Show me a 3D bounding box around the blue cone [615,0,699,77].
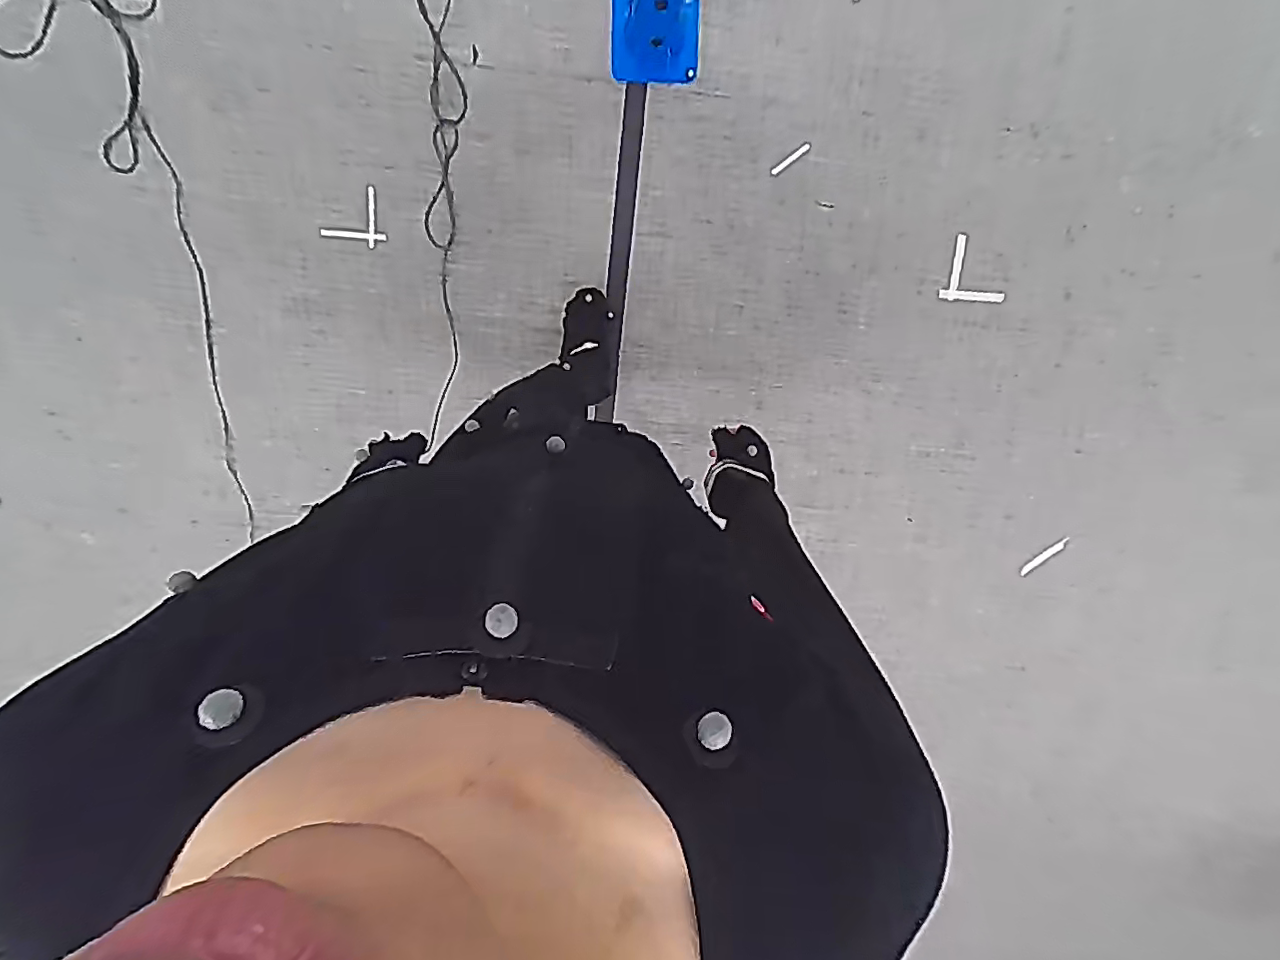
[{"bbox_3d":[0.048,-0.990,1.071,0.192,0.380,0.193,1,104,-4],"label":"blue cone"}]
